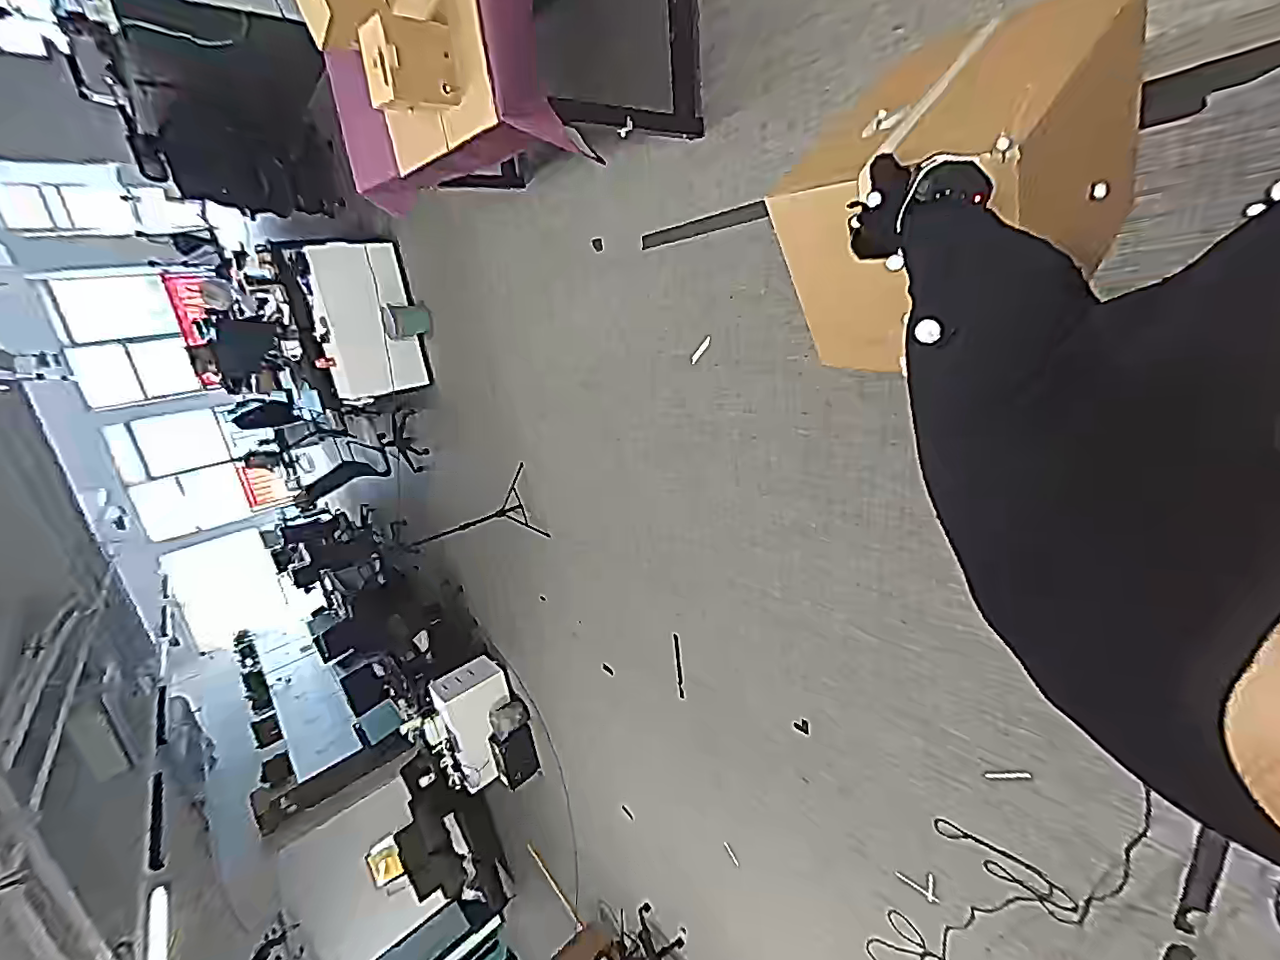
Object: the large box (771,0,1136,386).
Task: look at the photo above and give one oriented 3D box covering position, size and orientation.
[{"bbox_3d":[0.472,-0.401,0.815,0.320,0.408,0.320,21,154,49],"label":"large box"}]
